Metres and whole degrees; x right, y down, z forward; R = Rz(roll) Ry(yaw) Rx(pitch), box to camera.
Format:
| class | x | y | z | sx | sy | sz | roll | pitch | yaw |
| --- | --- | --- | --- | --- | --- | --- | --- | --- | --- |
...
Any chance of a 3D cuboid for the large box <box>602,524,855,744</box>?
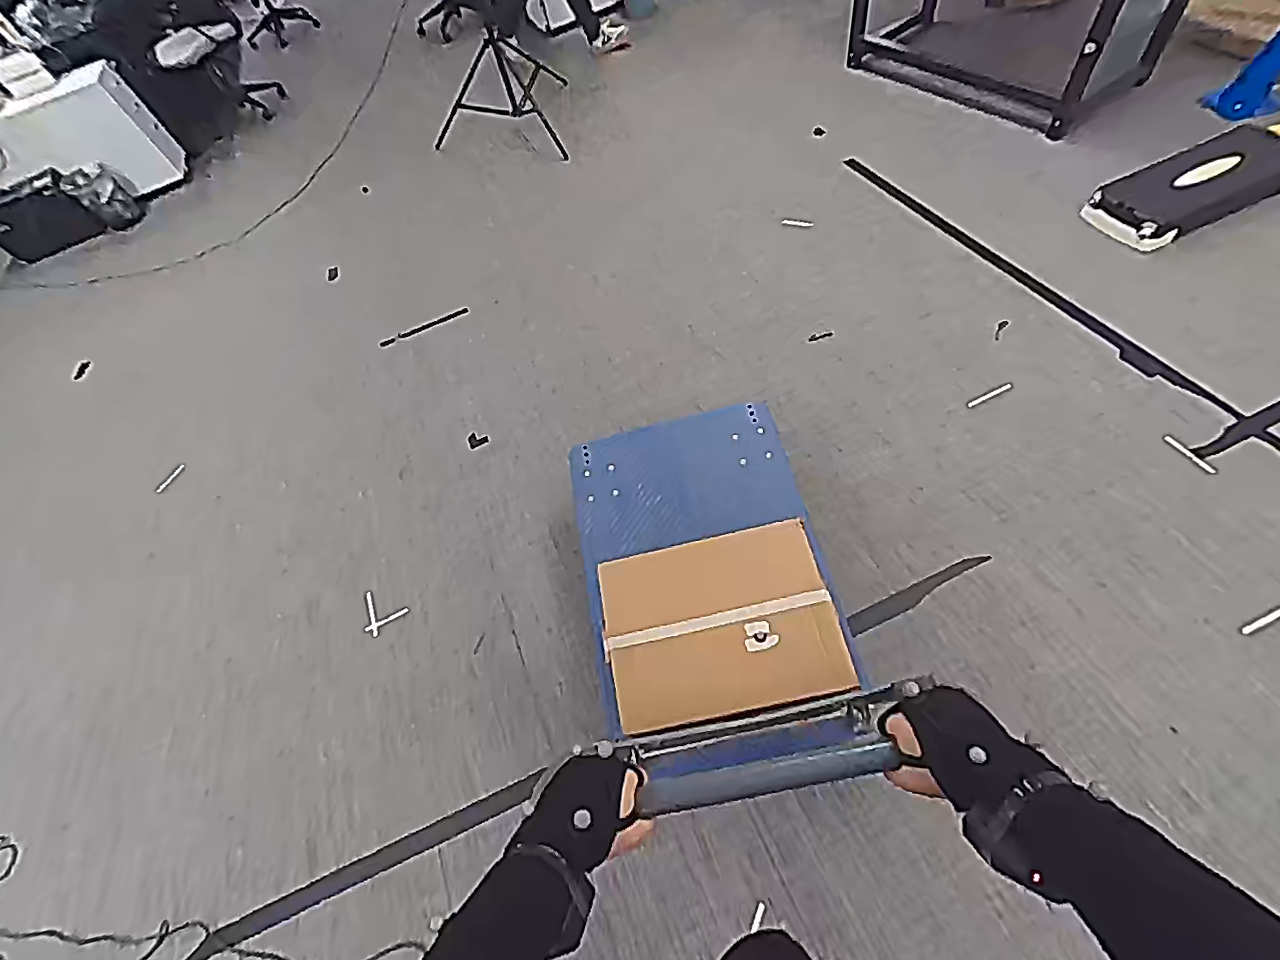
| class | x | y | z | sx | sy | sz | roll | pitch | yaw |
| --- | --- | --- | --- | --- | --- | --- | --- | --- | --- |
| large box | 0.165 | 0.332 | 1.117 | 0.408 | 0.320 | 0.320 | -13 | 61 | 2 |
